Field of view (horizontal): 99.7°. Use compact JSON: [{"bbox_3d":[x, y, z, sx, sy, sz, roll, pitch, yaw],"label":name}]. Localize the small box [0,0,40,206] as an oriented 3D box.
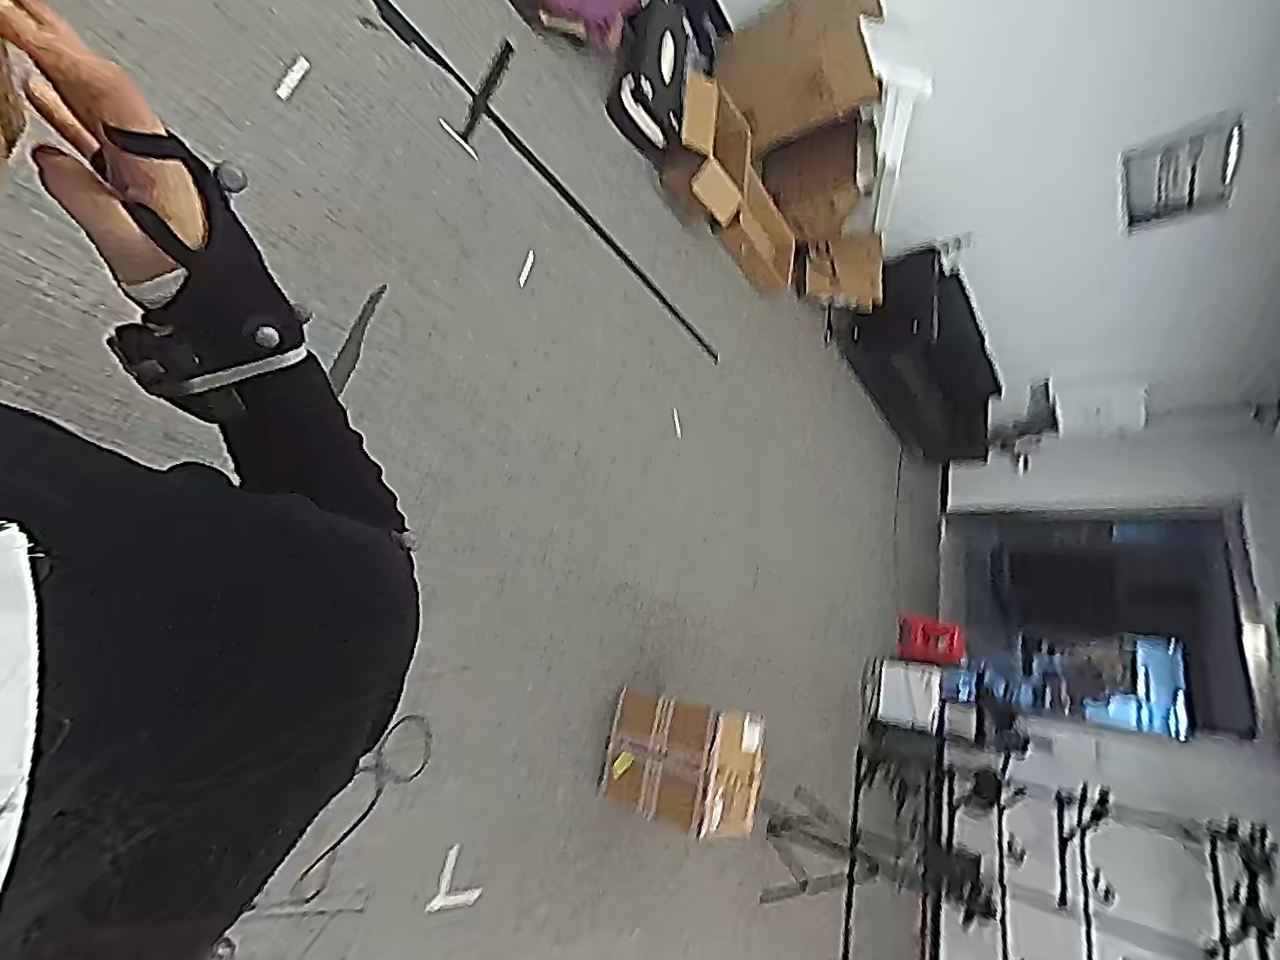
[{"bbox_3d":[-0.326,-0.218,0.172,0.168,0.176,0.179,-4,124,-43],"label":"small box"}]
